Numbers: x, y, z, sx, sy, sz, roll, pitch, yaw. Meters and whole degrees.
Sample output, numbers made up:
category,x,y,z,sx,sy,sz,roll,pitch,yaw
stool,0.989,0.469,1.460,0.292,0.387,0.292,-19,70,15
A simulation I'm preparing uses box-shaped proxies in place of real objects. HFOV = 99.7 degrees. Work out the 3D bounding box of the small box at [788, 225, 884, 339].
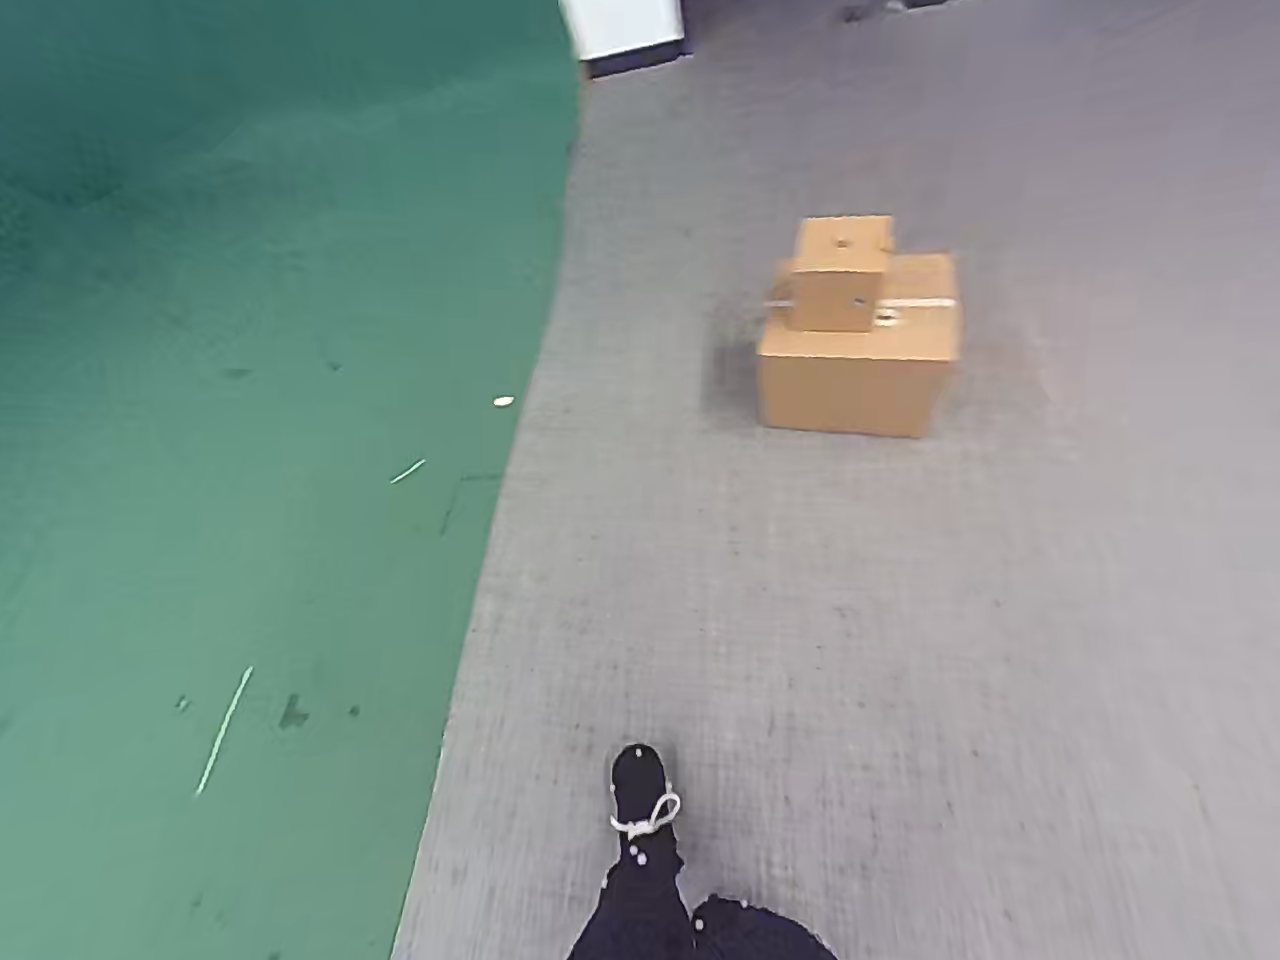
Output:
category,x,y,z,sx,sy,sz,roll,pitch,yaw
small box,0.421,-0.424,1.173,0.179,0.176,0.168,5,62,18

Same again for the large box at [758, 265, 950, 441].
category,x,y,z,sx,sy,sz,roll,pitch,yaw
large box,0.515,-0.312,1.372,0.408,0.320,0.320,5,65,16
